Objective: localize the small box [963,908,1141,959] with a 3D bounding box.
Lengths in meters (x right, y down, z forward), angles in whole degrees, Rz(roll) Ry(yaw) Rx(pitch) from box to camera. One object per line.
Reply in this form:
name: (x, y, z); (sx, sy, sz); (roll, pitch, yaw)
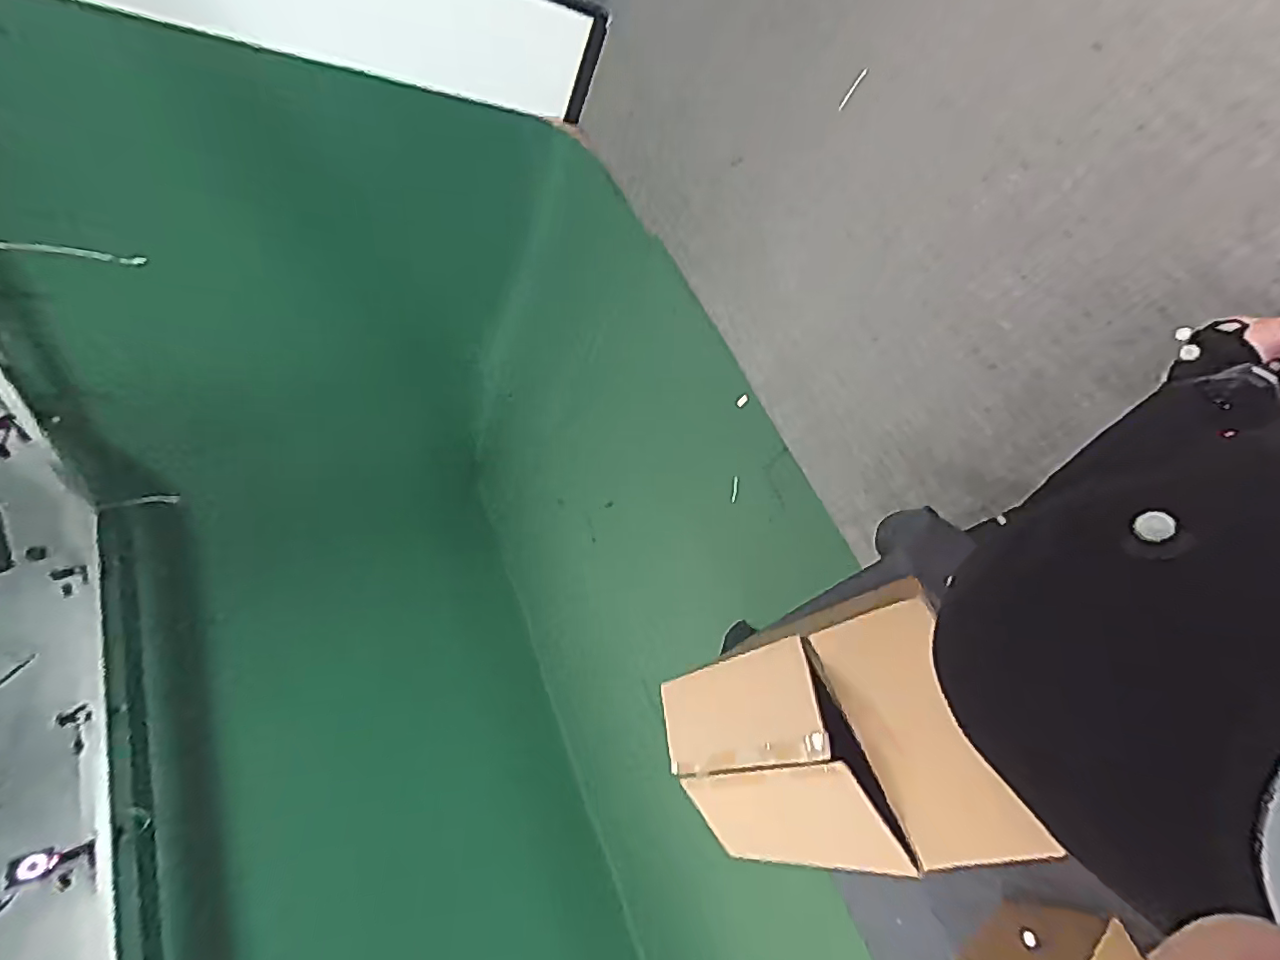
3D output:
small box: (0.609, 0.749, 0.765); (0.179, 0.176, 0.168); (-49, 60, 49)
